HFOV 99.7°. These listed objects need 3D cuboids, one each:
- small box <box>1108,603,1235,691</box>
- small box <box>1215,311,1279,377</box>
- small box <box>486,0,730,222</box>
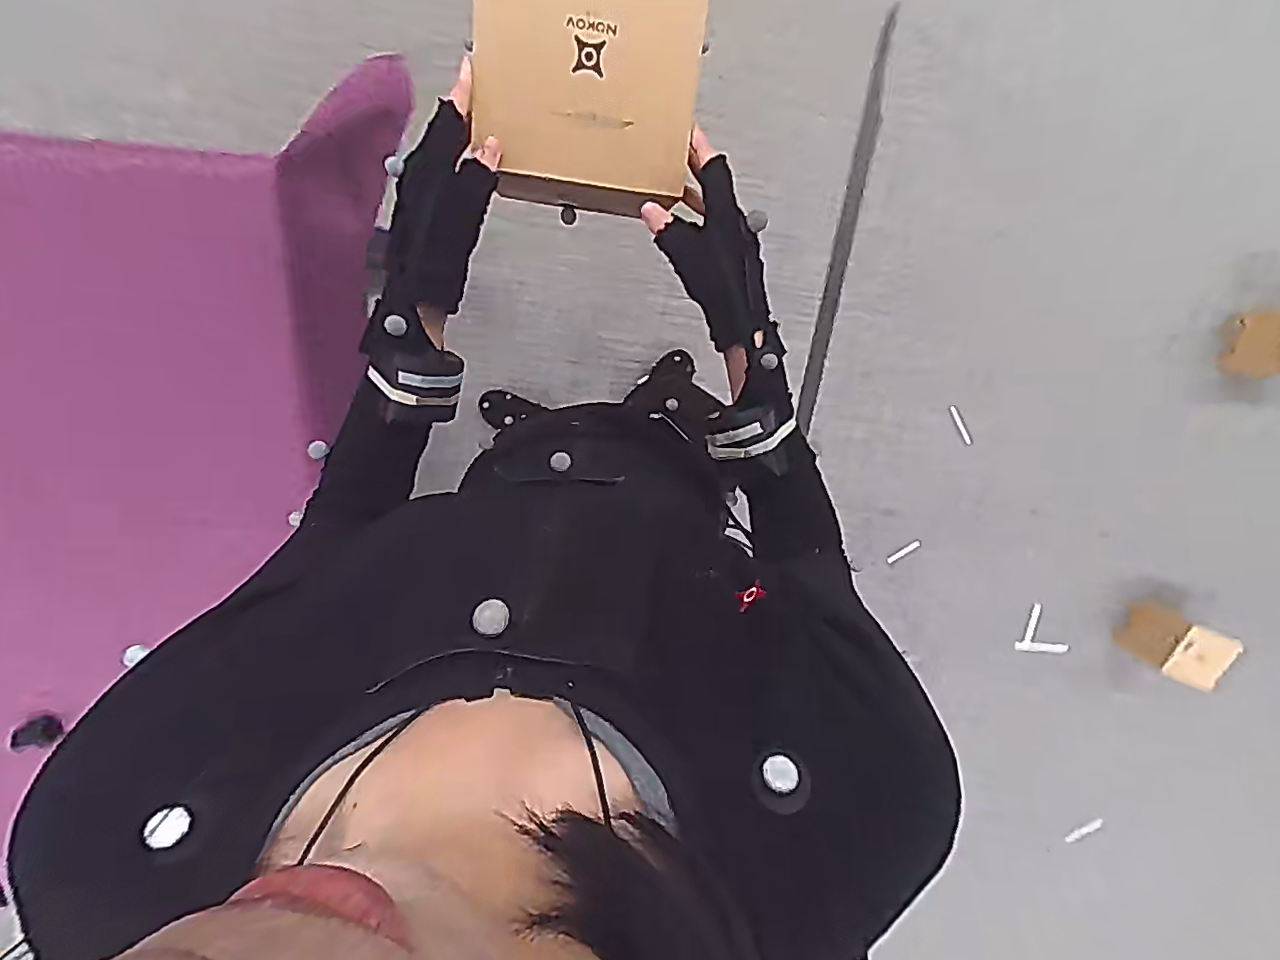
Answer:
[{"bbox_3d":[1.592,0.495,1.631,0.179,0.176,0.168,21,103,-7],"label":"small box"},{"bbox_3d":[1.682,-0.358,1.416,0.179,0.176,0.168,-5,104,-2],"label":"small box"},{"bbox_3d":[-0.030,-0.338,0.463,0.168,0.176,0.179,6,109,-7],"label":"small box"}]
